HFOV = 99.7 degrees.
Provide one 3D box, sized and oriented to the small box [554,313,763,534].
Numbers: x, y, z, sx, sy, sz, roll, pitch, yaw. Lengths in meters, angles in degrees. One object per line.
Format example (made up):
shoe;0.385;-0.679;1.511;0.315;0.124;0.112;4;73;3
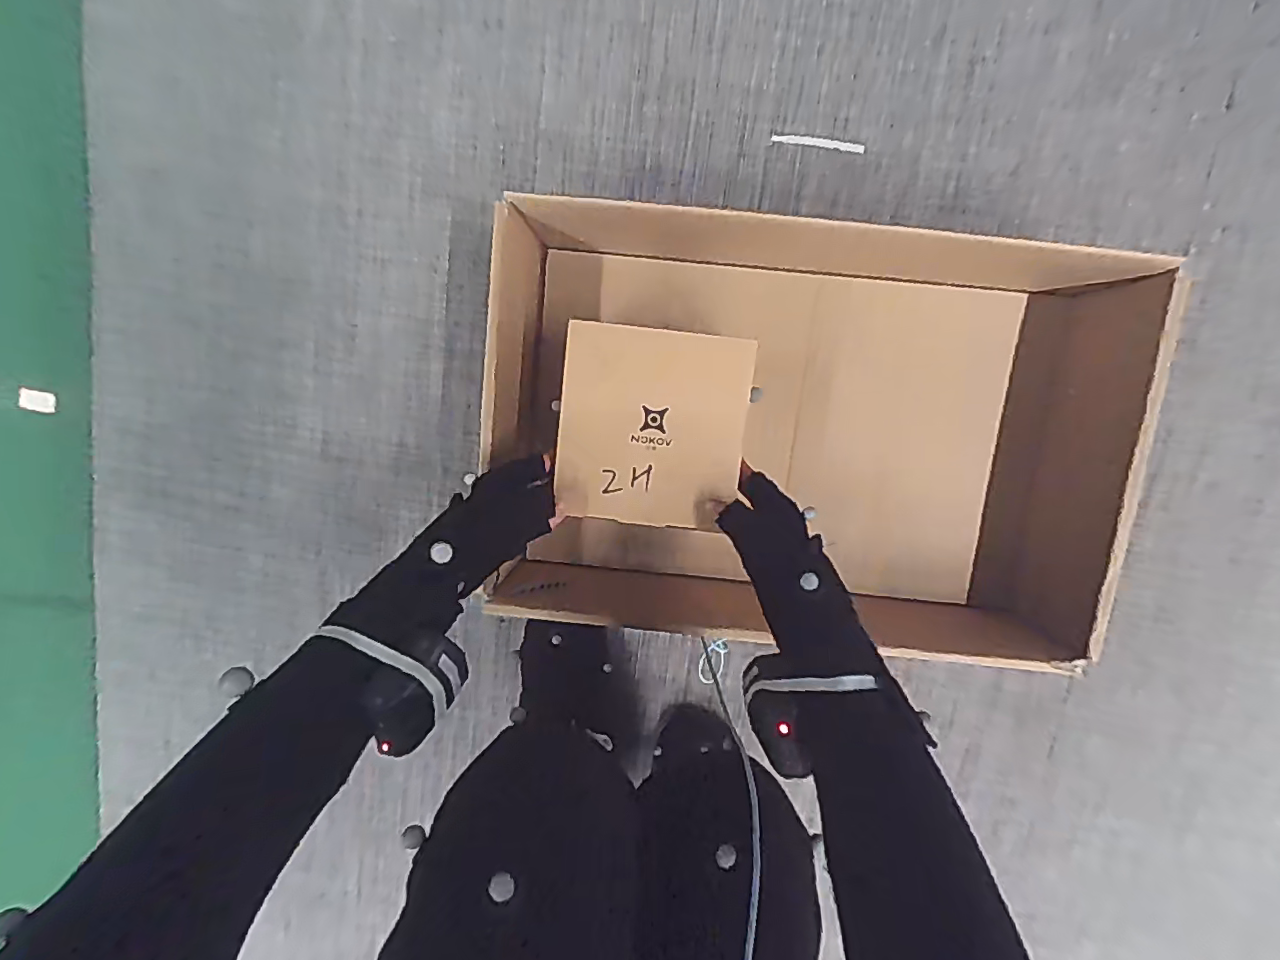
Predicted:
small box;0.016;-0.058;0.551;0.168;0.176;0.179;8;99;1
